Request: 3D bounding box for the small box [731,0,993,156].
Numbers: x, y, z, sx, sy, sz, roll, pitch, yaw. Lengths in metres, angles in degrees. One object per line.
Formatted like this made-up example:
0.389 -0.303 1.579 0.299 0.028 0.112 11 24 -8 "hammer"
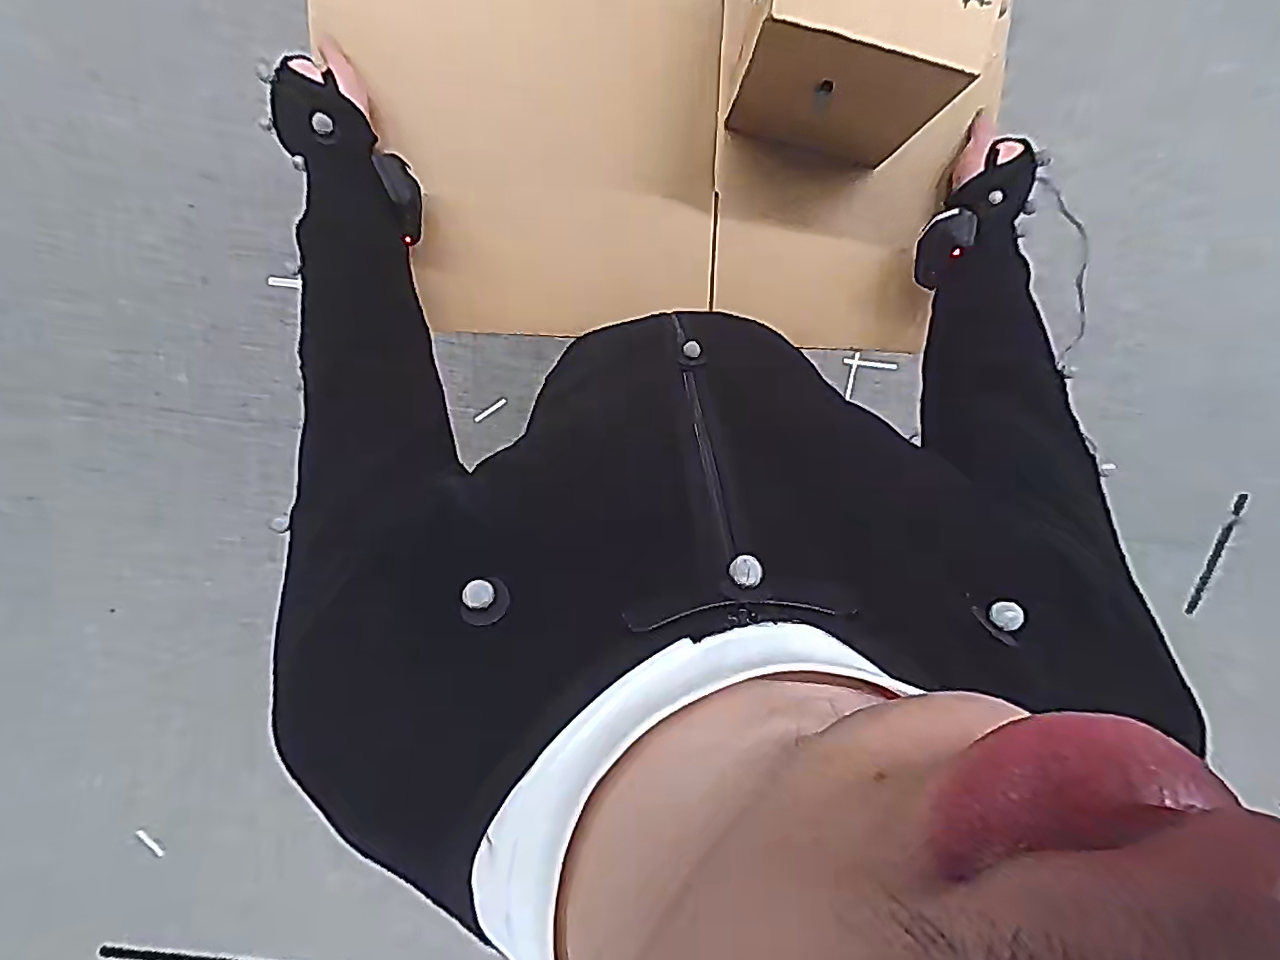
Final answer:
0.192 -0.425 0.486 0.179 0.176 0.168 12 99 -3 "small box"
